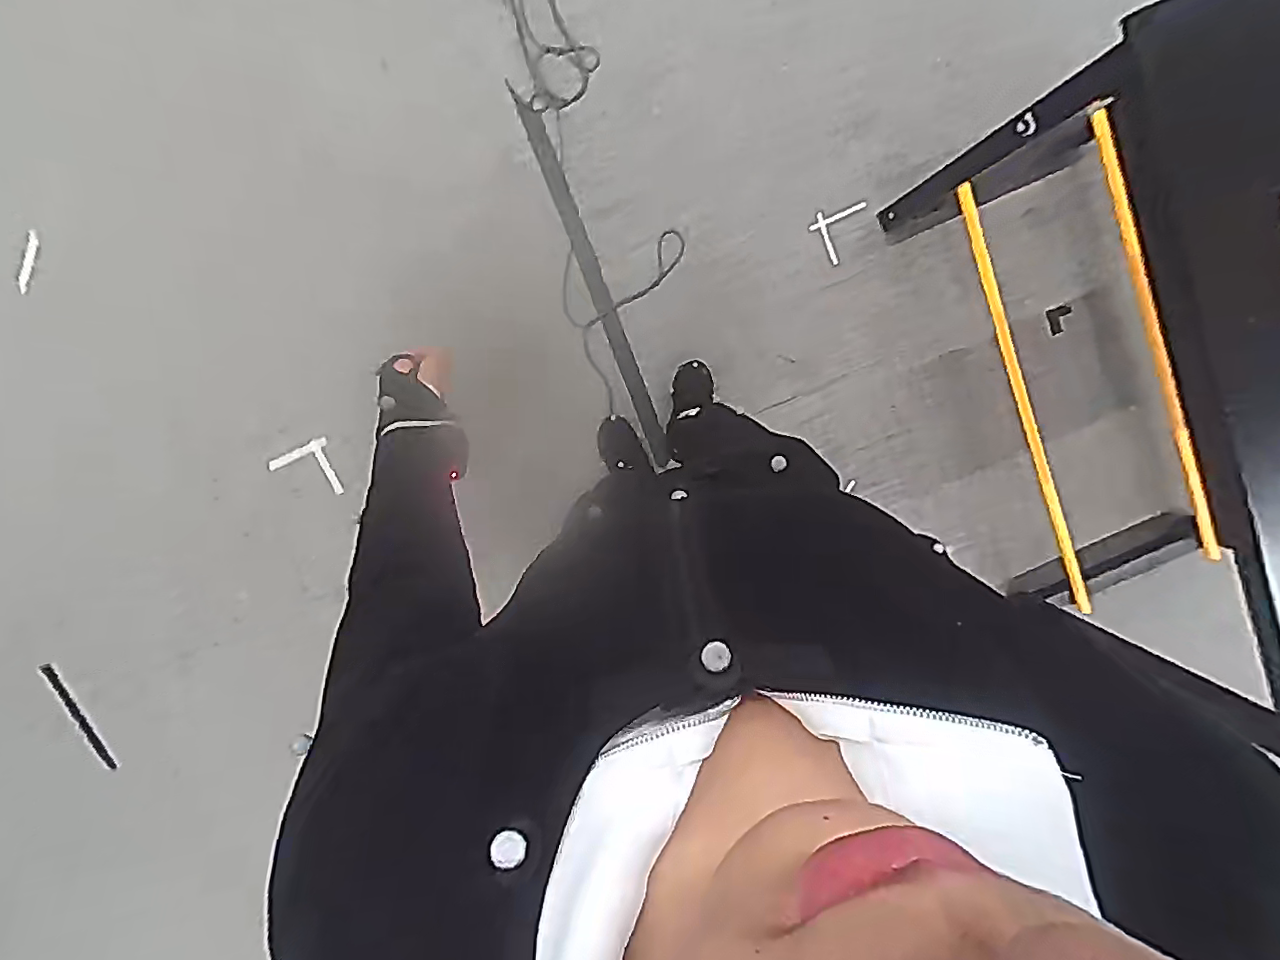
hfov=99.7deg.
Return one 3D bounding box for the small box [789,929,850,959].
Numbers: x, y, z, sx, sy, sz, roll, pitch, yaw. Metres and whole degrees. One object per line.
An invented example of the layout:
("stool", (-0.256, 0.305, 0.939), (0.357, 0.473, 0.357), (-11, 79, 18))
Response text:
("small box", (0.581, 1.536, 1.661), (0.168, 0.176, 0.179), (-23, 98, 2))
